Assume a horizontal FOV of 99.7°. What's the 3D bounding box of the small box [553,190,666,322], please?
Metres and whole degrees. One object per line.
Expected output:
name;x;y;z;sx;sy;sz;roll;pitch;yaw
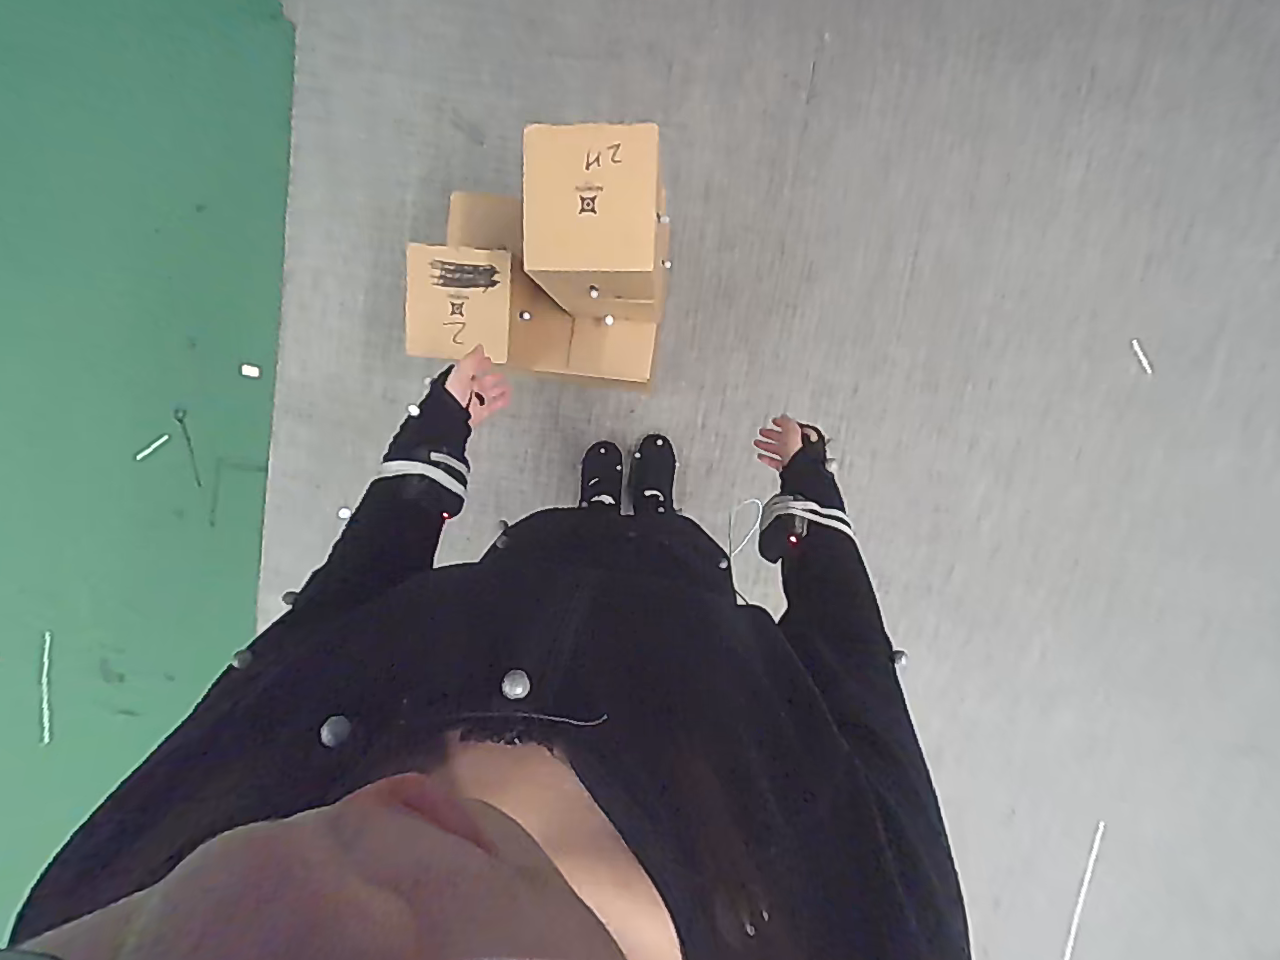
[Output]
small box;-0.045;-0.376;0.918;0.168;0.176;0.179;5;99;4

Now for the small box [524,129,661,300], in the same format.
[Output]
small box;-0.058;-0.355;0.755;0.168;0.176;0.179;3;97;3
